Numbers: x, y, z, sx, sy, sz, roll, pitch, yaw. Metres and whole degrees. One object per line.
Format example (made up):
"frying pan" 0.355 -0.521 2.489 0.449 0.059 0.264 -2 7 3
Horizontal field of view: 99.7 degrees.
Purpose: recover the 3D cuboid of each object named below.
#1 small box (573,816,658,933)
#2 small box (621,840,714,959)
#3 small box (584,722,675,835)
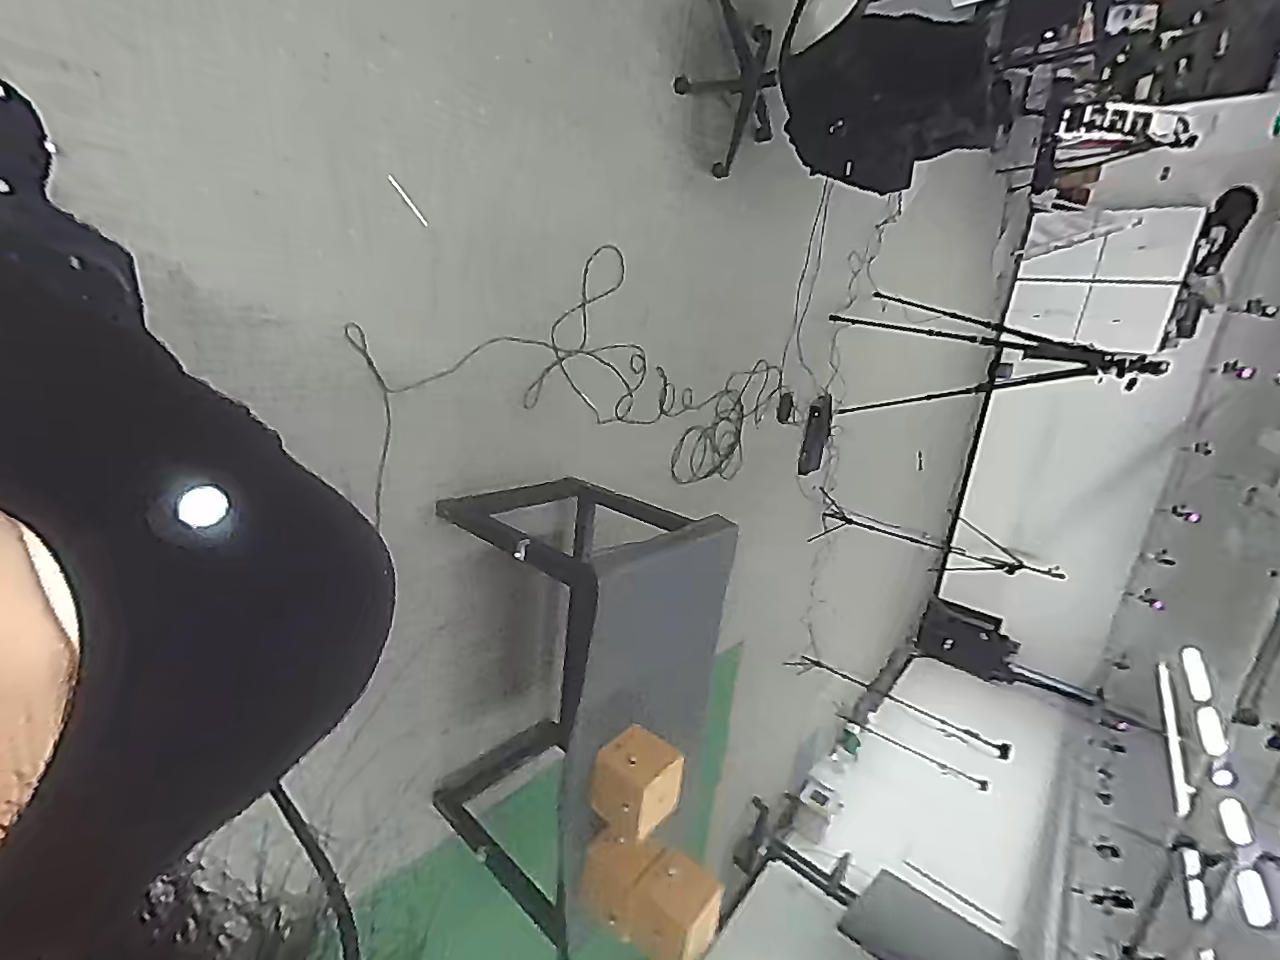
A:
"small box" -0.068 1.075 1.499 0.168 0.176 0.179 -6 108 -53
"small box" 0.069 1.100 1.410 0.168 0.176 0.179 -7 108 -52
"small box" -0.031 0.771 1.426 0.168 0.176 0.179 -13 115 -50
